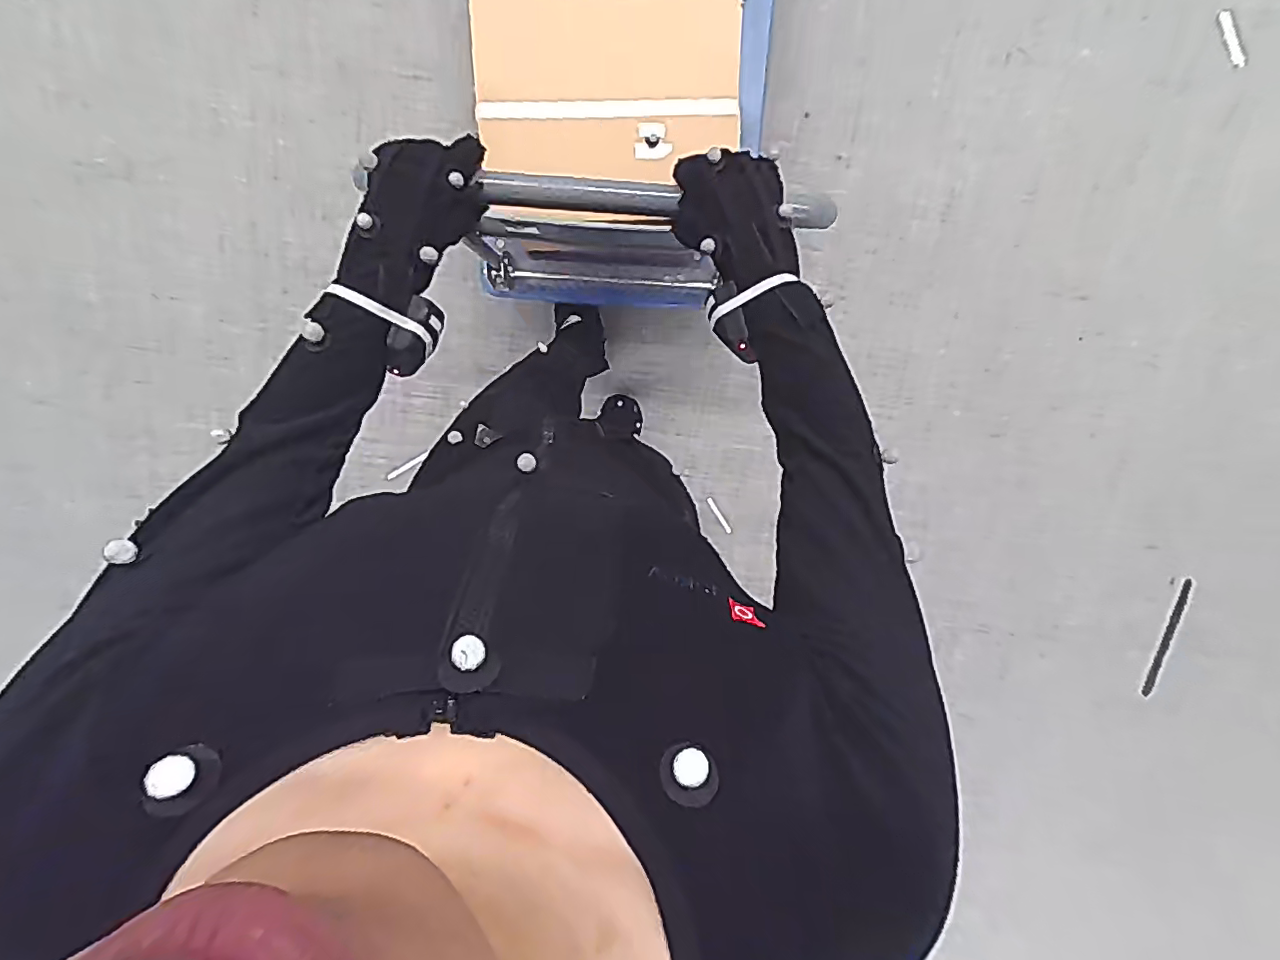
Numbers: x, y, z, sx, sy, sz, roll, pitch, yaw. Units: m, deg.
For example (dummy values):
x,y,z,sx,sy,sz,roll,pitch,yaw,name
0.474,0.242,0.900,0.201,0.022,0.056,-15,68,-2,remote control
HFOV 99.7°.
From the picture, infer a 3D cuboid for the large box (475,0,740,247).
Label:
x,y,z,sx,sy,sz,roll,pitch,yaw,name
-0.050,-0.622,0.988,0.408,0.320,0.320,-2,105,-2,large box
